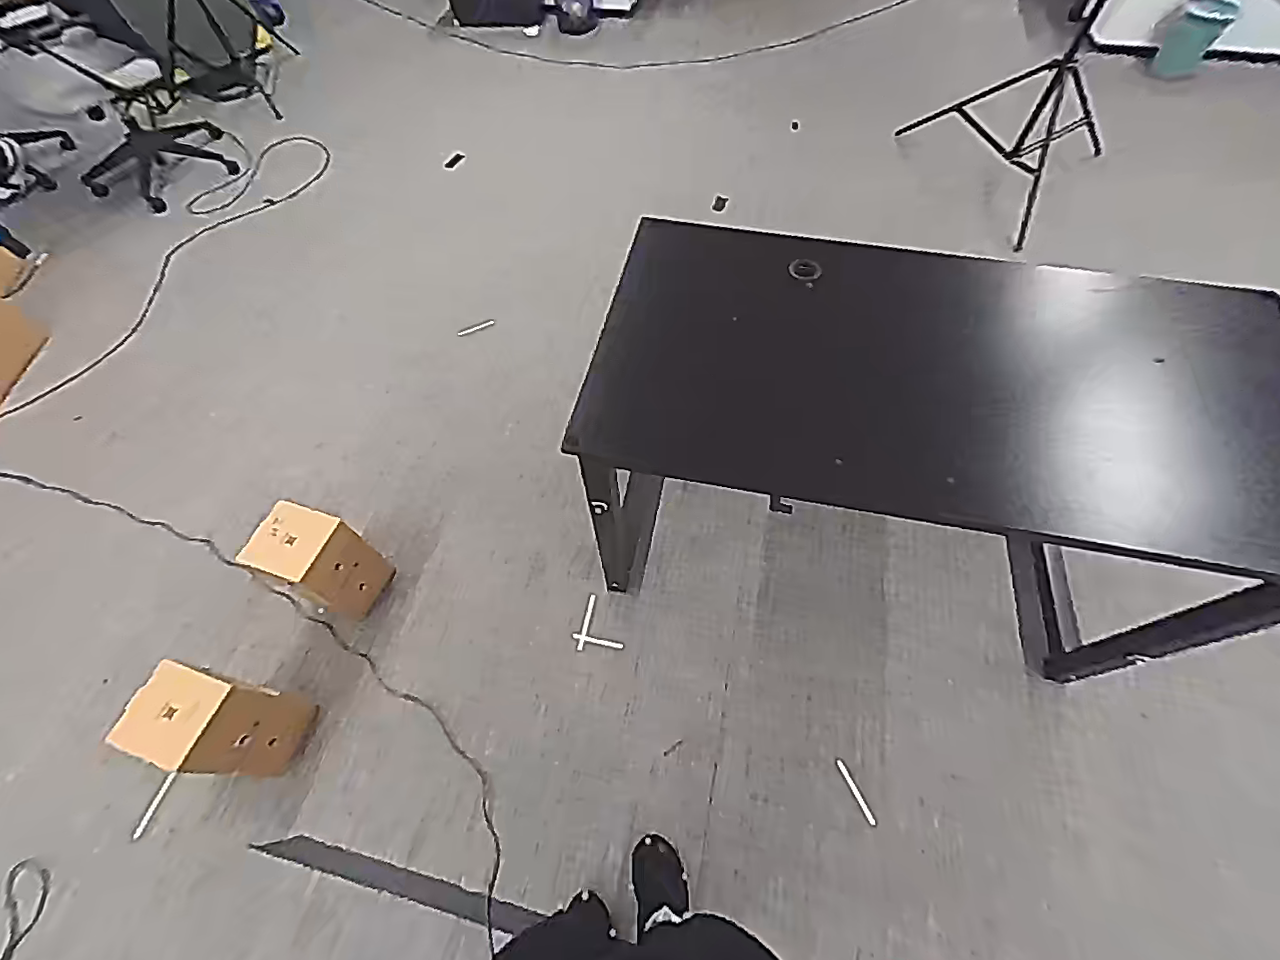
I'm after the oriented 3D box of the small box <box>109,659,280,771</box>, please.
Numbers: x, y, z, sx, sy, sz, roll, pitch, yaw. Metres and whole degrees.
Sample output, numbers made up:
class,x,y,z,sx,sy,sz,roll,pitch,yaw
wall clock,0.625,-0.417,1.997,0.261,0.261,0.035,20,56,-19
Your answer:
class,x,y,z,sx,sy,sz,roll,pitch,yaw
small box,-0.916,0.497,1.131,0.179,0.176,0.168,15,62,9

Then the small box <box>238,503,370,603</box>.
class,x,y,z,sx,sy,sz,roll,pitch,yaw
small box,-0.798,0.183,1.308,0.179,0.176,0.168,15,60,11

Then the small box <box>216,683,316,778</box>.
class,x,y,z,sx,sy,sz,roll,pitch,yaw
small box,-0.910,0.584,1.271,0.168,0.176,0.179,11,61,8

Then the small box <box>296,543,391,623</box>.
class,x,y,z,sx,sy,sz,roll,pitch,yaw
small box,-0.803,0.260,1.455,0.168,0.176,0.179,18,62,12
